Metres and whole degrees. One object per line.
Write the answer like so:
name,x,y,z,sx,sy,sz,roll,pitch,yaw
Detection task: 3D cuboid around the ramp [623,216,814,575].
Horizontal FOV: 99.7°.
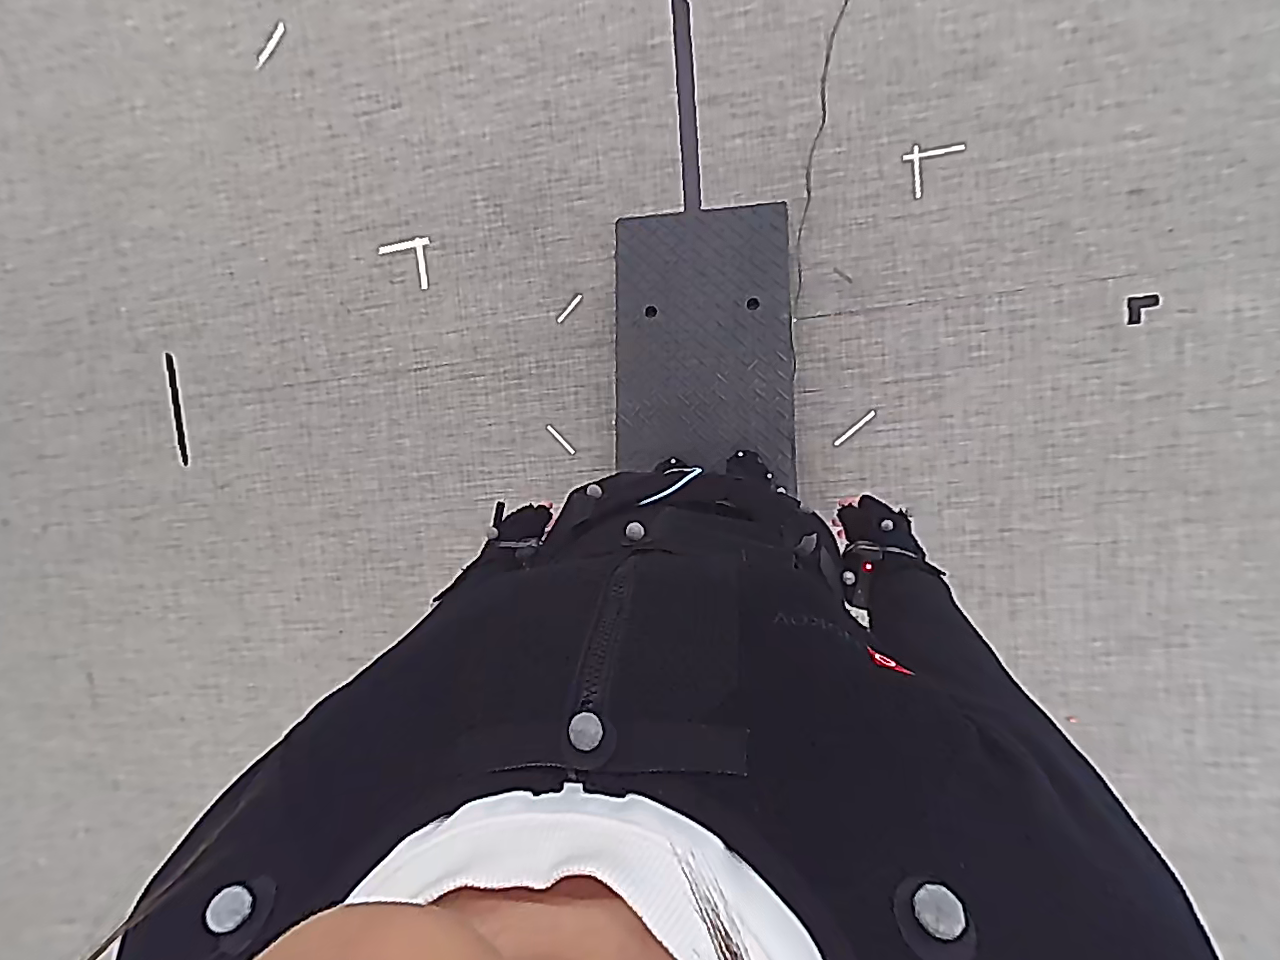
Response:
ramp,0.197,-0.242,1.508,0.509,0.206,0.991,-5,91,12
